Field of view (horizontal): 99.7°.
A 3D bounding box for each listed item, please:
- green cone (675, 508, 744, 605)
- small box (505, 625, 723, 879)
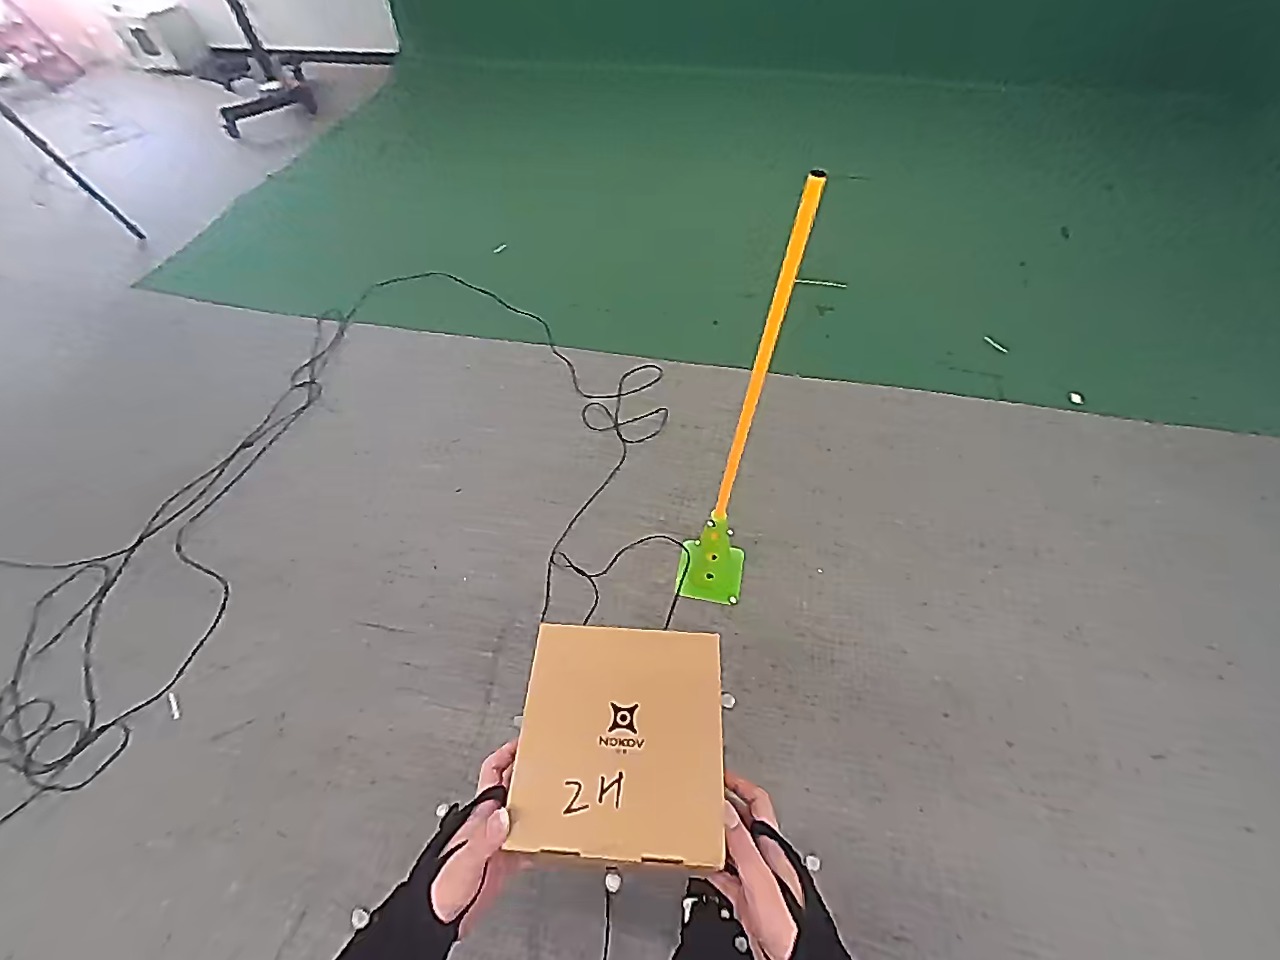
[{"bbox_3d":[0.216,0.193,1.591,0.202,0.368,0.200,9,55,10],"label":"green cone"},{"bbox_3d":[-0.014,0.258,0.510,0.168,0.176,0.179,3,52,3],"label":"small box"}]
